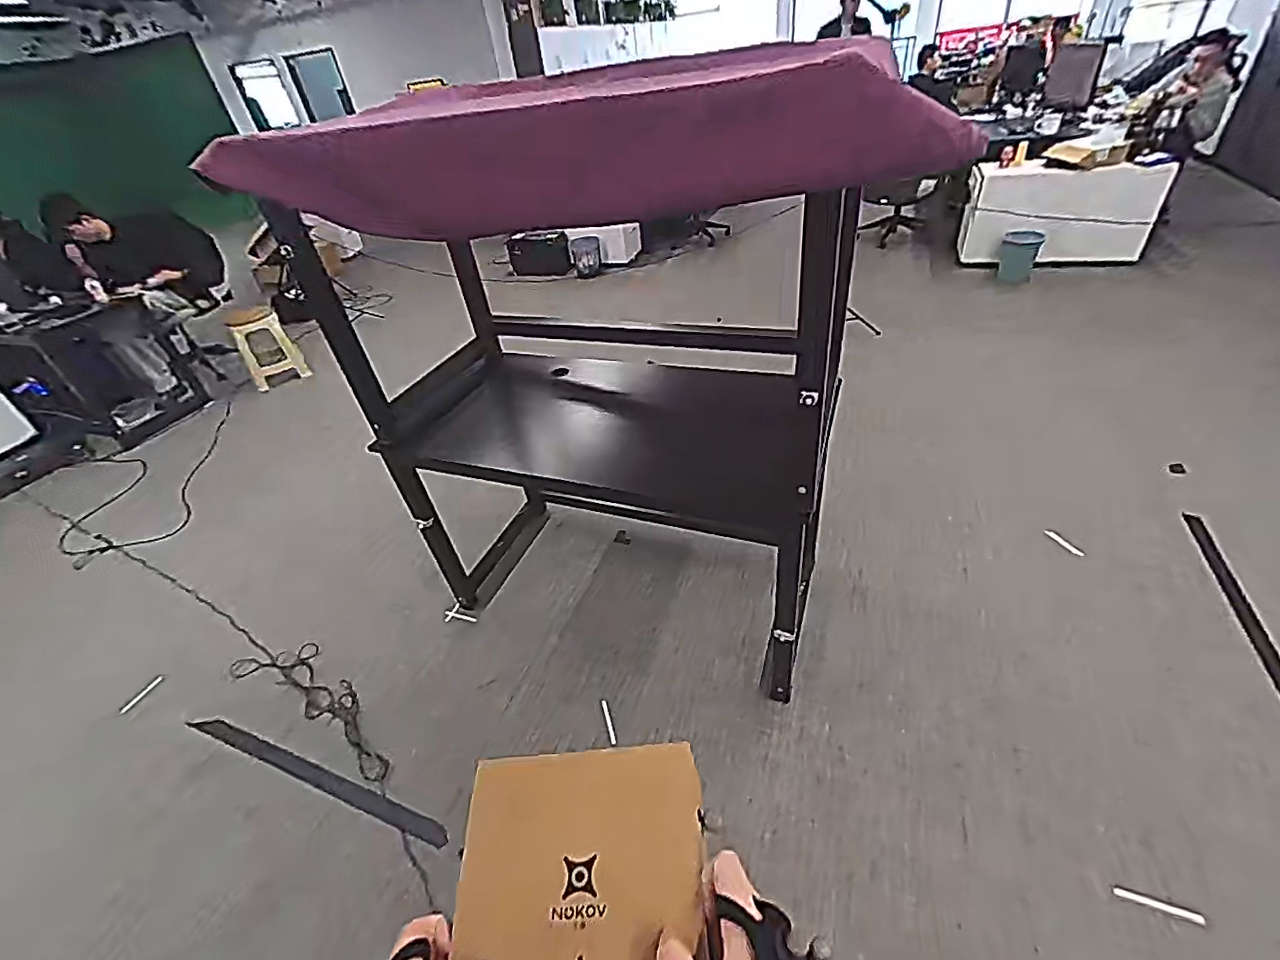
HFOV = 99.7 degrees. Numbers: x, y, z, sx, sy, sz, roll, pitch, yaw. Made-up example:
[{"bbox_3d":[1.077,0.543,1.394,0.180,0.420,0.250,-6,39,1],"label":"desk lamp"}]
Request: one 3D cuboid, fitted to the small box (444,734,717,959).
[{"bbox_3d":[-0.031,0.315,0.411,0.168,0.176,0.179,-7,49,5],"label":"small box"}]
